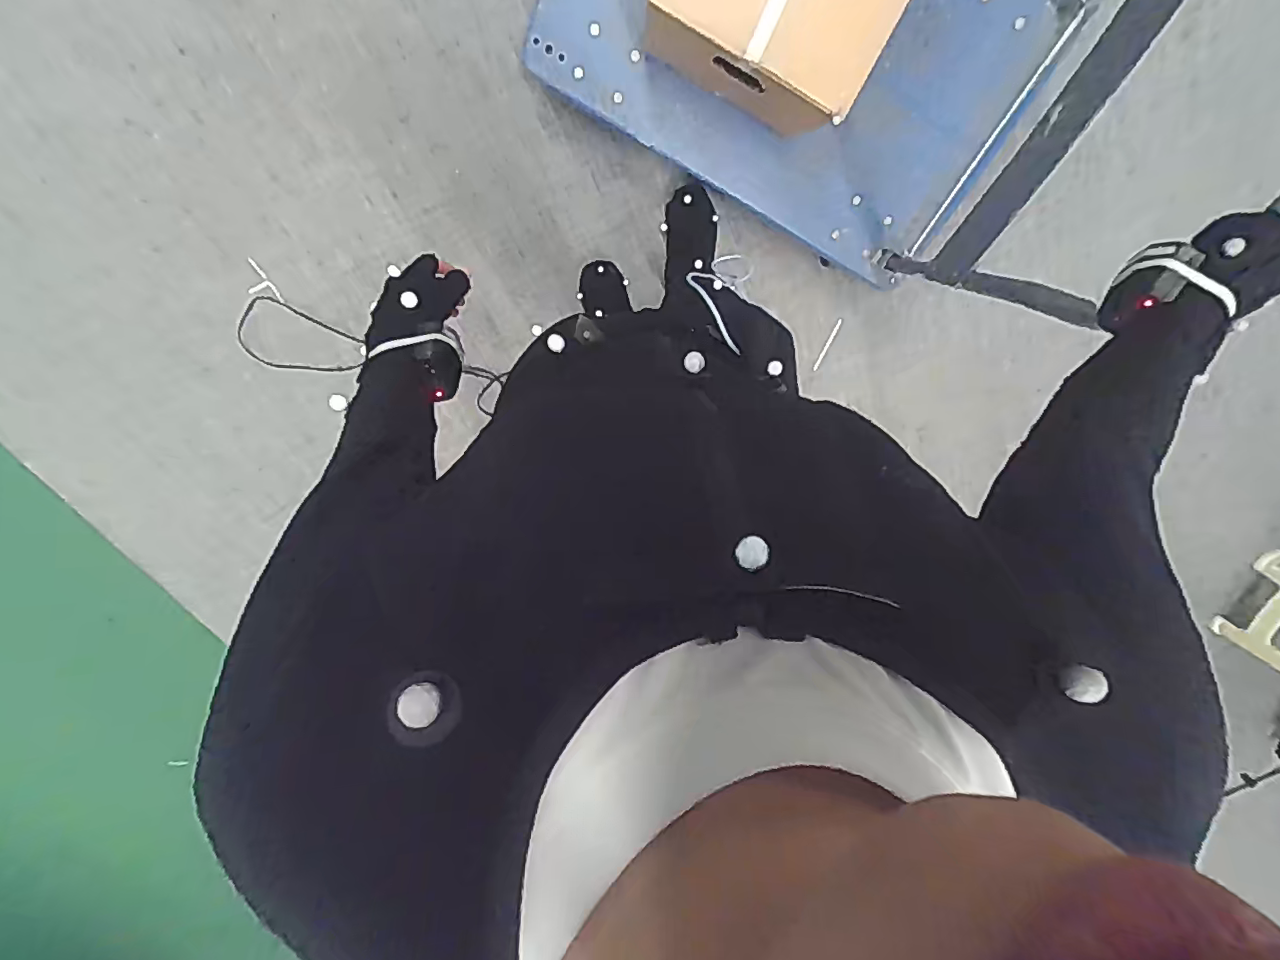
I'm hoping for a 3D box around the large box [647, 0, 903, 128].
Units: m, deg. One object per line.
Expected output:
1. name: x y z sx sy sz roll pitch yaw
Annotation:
1. large box: 0.227 -0.801 0.776 0.320 0.320 0.408 23 117 -11
